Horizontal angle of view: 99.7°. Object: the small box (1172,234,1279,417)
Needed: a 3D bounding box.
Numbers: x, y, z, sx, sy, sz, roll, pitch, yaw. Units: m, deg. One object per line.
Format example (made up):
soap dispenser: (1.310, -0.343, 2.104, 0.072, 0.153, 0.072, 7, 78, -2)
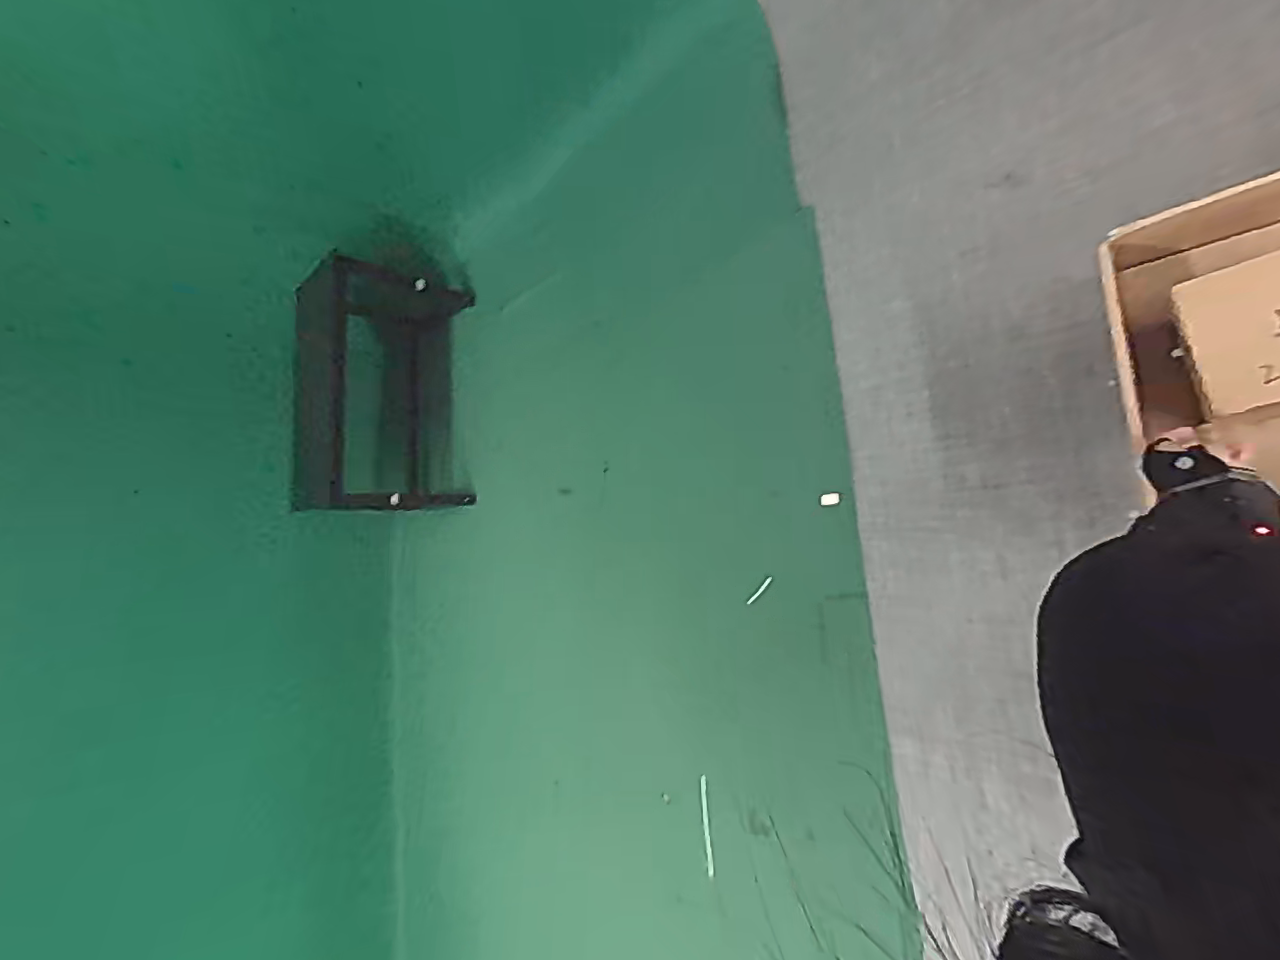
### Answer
small box: (0.784, -0.190, 0.660, 0.168, 0.176, 0.179, -18, 76, 44)
